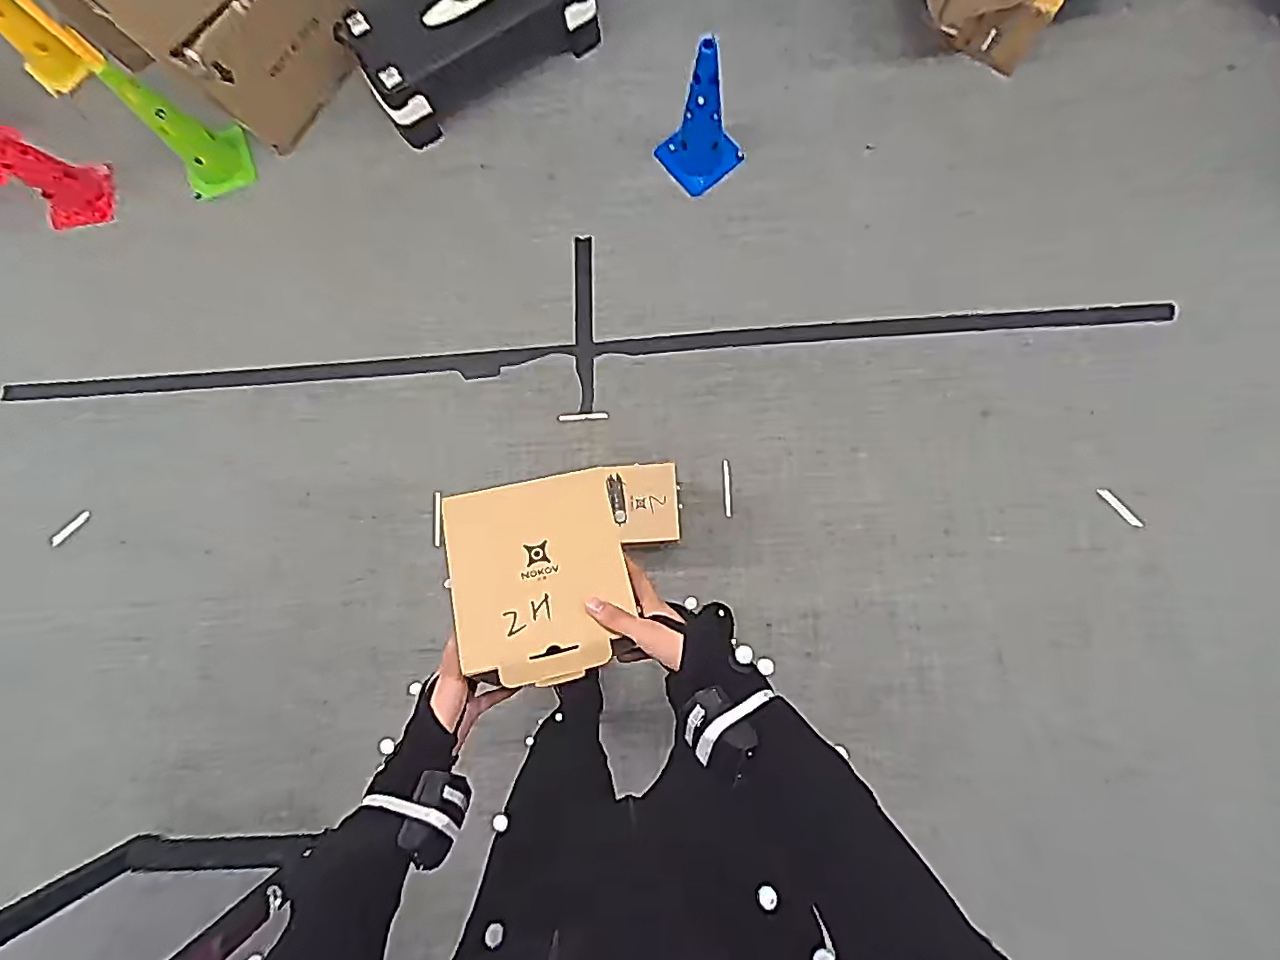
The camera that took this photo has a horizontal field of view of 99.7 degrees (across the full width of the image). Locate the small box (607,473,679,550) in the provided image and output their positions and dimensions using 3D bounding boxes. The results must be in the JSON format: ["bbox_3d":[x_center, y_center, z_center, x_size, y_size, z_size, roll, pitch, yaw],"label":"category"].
[{"bbox_3d":[0.010,0.084,1.383,0.168,0.176,0.179,-7,82,3],"label":"small box"}]

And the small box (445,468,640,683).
[{"bbox_3d":[-0.103,0.111,0.590,0.168,0.176,0.179,-11,68,-8],"label":"small box"}]
